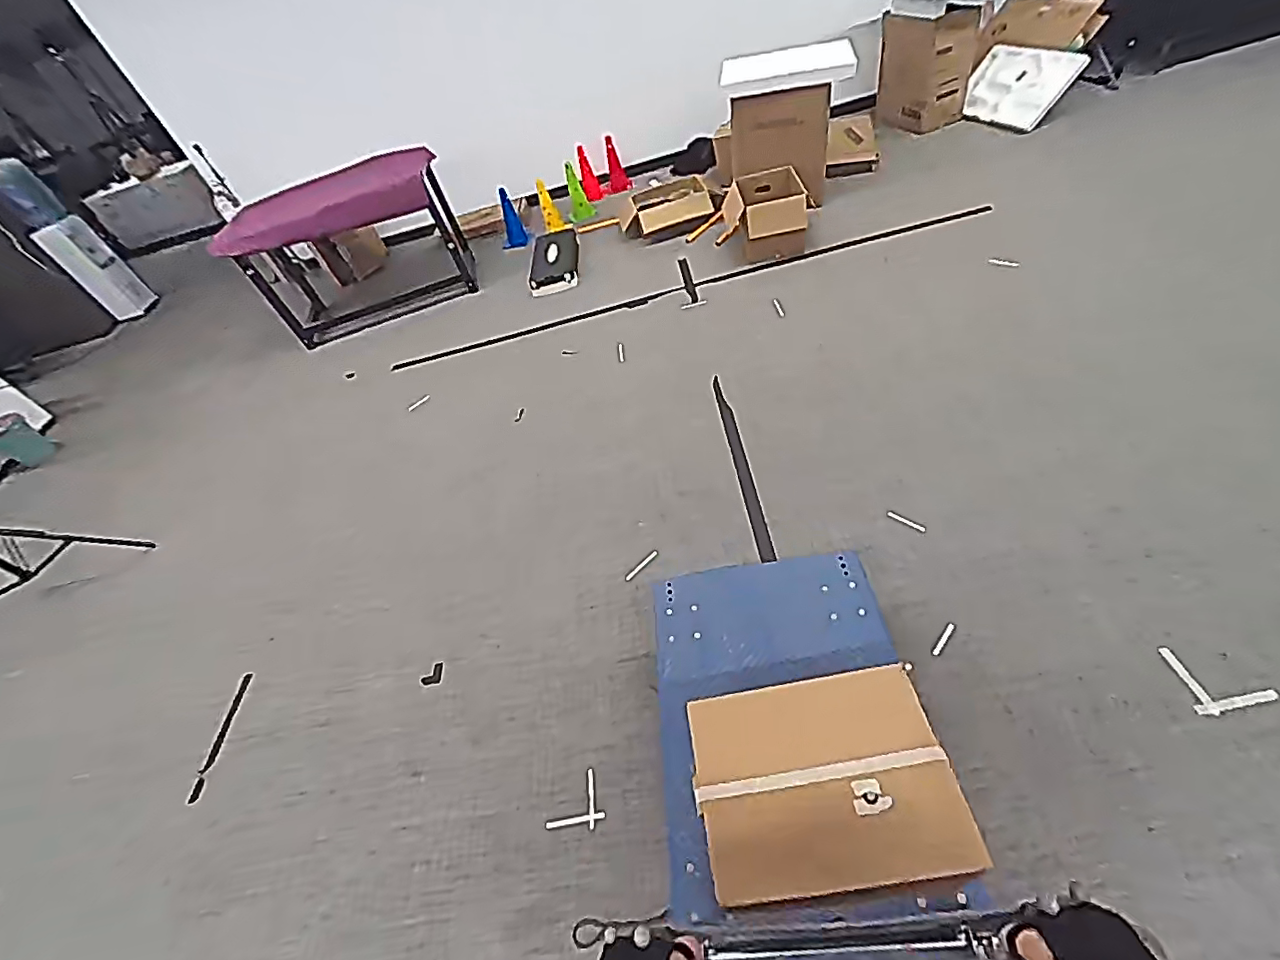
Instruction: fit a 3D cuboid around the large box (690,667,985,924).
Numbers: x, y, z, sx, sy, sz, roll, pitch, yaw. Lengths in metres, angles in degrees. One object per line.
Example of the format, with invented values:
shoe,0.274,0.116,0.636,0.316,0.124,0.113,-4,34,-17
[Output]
large box,0.331,0.597,1.015,0.408,0.320,0.320,-12,47,5
